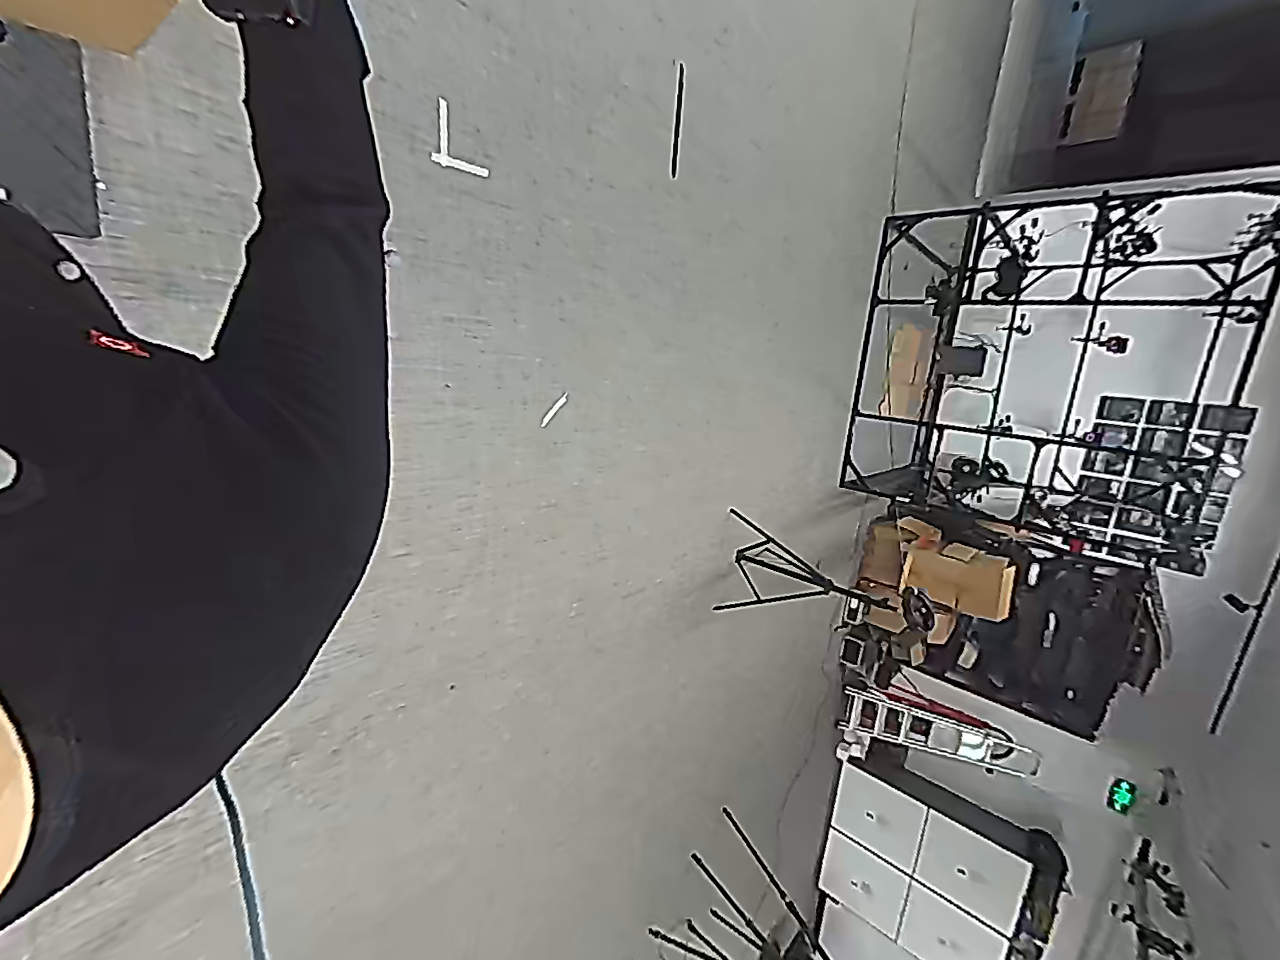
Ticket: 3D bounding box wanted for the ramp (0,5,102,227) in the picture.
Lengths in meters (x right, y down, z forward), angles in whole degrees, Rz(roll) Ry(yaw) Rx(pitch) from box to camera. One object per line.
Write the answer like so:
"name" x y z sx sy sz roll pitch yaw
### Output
"ramp" -1.073 -0.904 0.682 0.509 0.206 0.991 -13 112 -48
